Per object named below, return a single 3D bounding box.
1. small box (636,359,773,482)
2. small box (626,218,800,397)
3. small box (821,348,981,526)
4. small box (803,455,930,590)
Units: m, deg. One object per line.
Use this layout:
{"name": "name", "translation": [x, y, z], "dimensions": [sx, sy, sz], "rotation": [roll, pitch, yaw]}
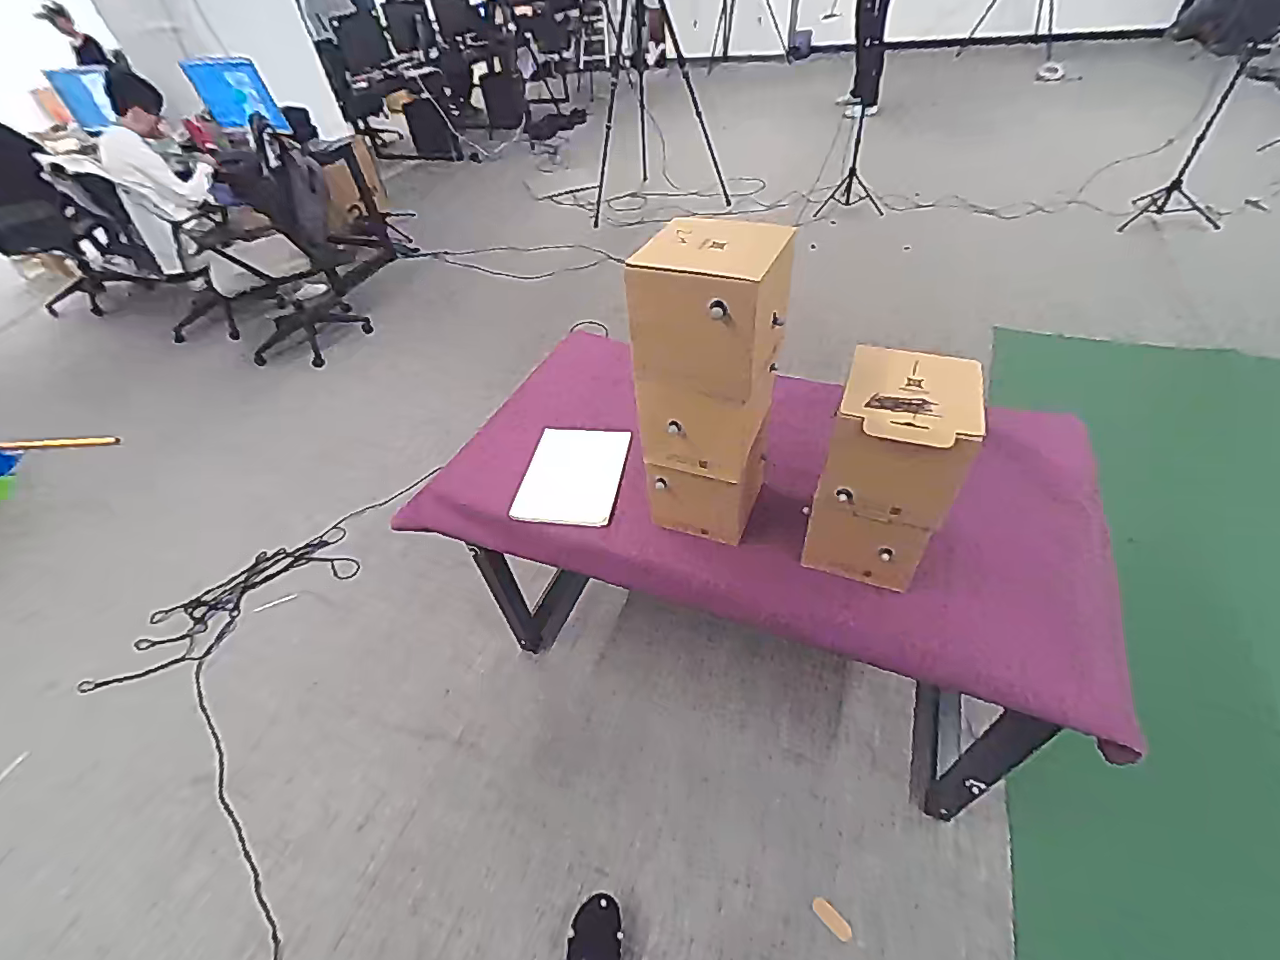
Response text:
{"name": "small box", "translation": [0.109, -0.123, 0.858], "dimensions": [0.168, 0.176, 0.179], "rotation": [15, 48, 20]}
{"name": "small box", "translation": [0.101, -0.233, 0.736], "dimensions": [0.179, 0.176, 0.168], "rotation": [16, 48, 22]}
{"name": "small box", "translation": [0.363, -0.061, 0.767], "dimensions": [0.168, 0.176, 0.179], "rotation": [14, 47, 18]}
{"name": "small box", "translation": [0.373, 0.051, 0.887], "dimensions": [0.168, 0.176, 0.179], "rotation": [15, 48, 20]}
